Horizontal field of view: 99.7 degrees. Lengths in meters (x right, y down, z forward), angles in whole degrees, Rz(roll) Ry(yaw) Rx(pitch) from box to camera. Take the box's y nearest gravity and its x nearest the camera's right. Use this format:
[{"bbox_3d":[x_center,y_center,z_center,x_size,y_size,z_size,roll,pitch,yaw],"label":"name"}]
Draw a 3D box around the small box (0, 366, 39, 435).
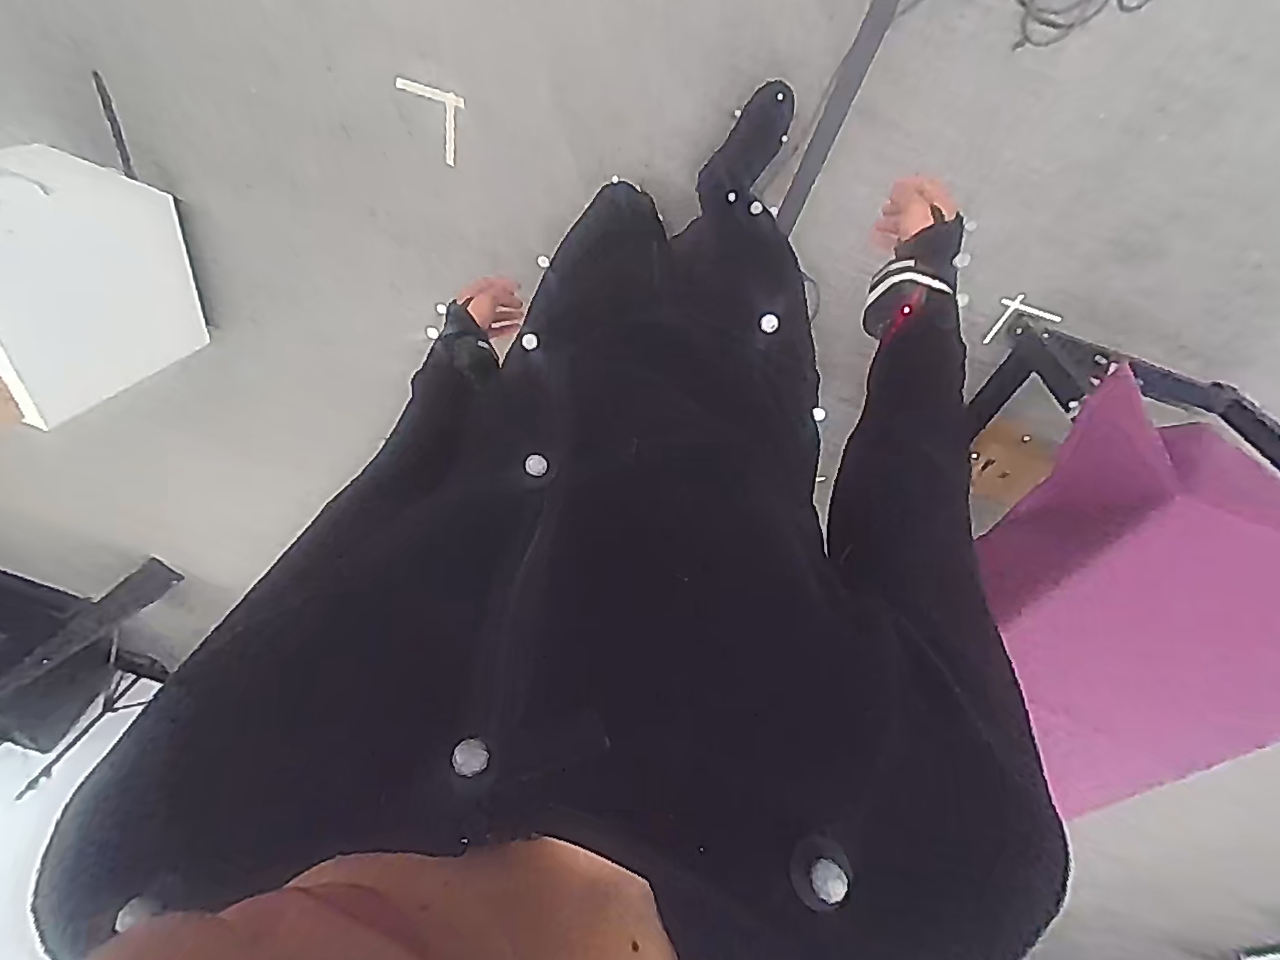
[{"bbox_3d":[-1.725,-0.206,1.375,0.179,0.176,0.168,21,132,0],"label":"small box"}]
